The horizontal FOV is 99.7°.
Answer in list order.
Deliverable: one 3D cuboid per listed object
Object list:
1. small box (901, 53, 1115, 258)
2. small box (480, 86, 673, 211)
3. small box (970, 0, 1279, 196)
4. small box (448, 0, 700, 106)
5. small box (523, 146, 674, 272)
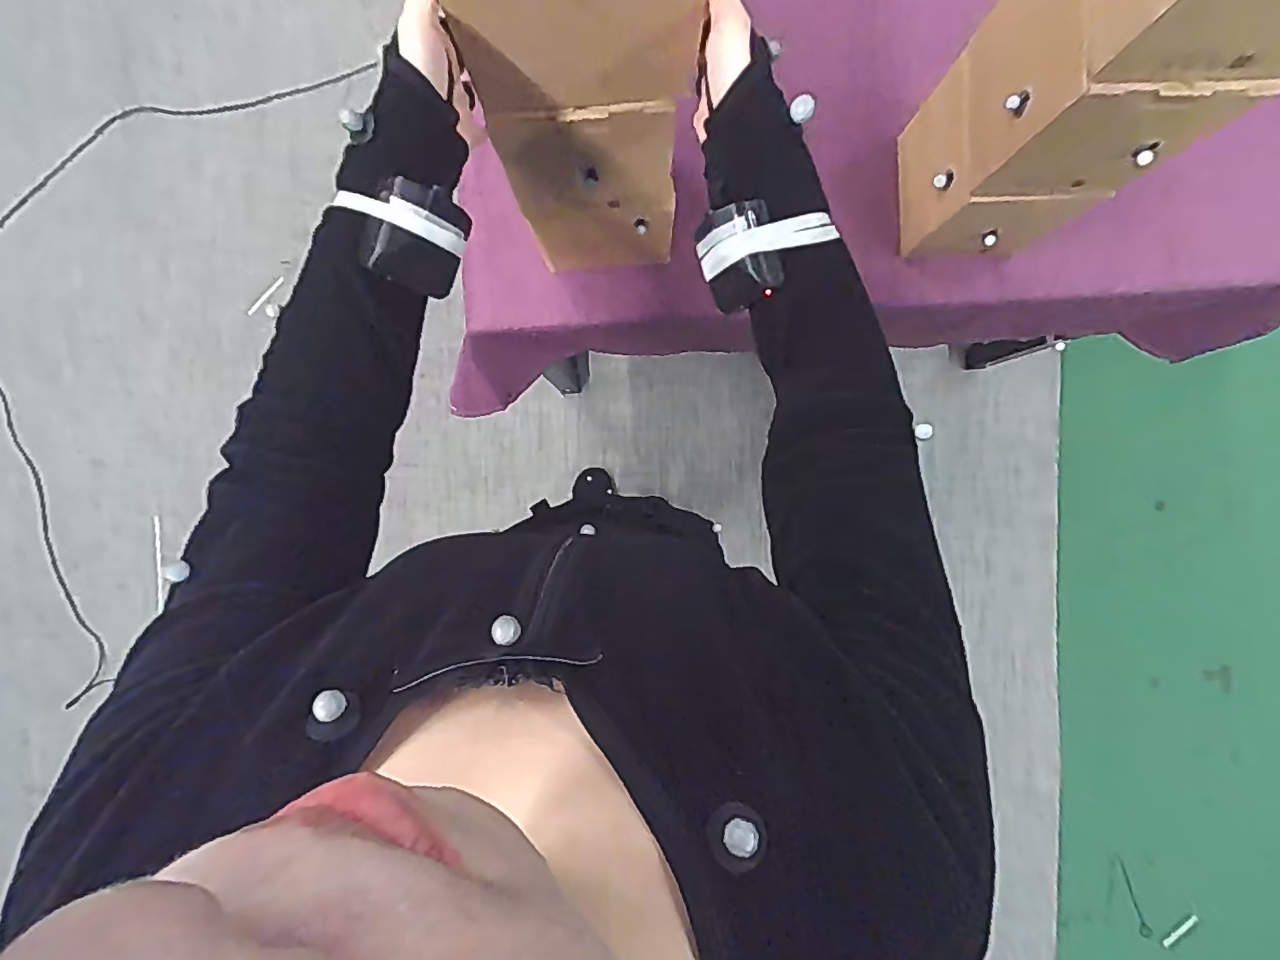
[{"bbox_3d":[0.452,-0.397,0.688,0.168,0.176,0.179,-1,90,1],"label":"small box"},{"bbox_3d":[-0.057,-0.387,0.534,0.168,0.176,0.179,-5,90,0],"label":"small box"},{"bbox_3d":[0.449,-0.401,0.525,0.168,0.176,0.179,1,90,1],"label":"small box"},{"bbox_3d":[-0.049,-0.392,0.369,0.179,0.176,0.168,-4,89,-1],"label":"small box"},{"bbox_3d":[-0.051,-0.383,0.698,0.179,0.176,0.168,-4,90,0],"label":"small box"}]
